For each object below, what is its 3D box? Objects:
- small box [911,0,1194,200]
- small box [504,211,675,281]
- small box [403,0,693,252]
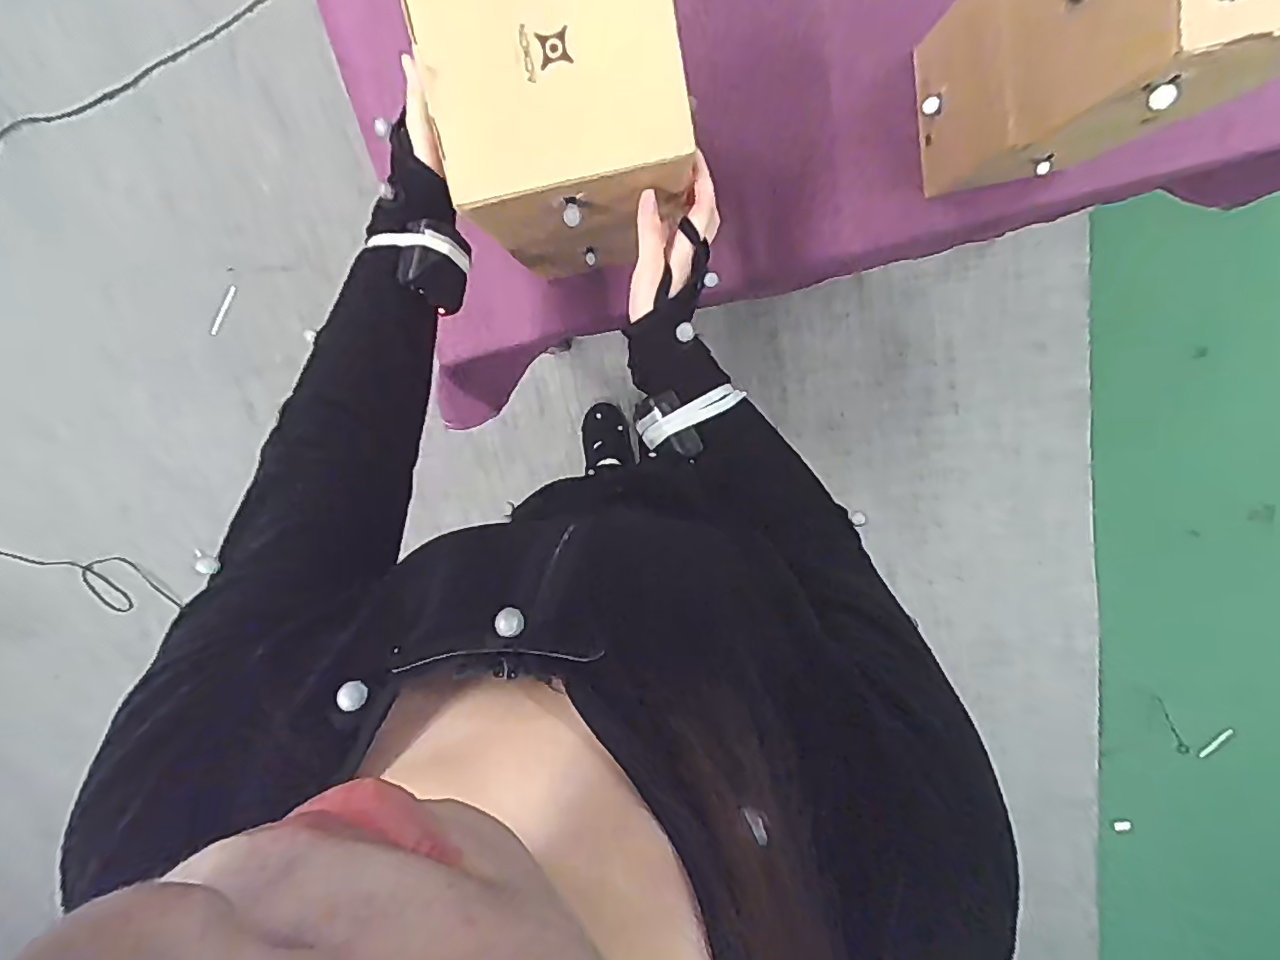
[{"bbox_3d":[0.417,-0.420,0.571,0.179,0.176,0.168,-10,101,4],"label":"small box"},{"bbox_3d":[-0.061,-0.331,0.601,0.179,0.176,0.168,-10,101,3],"label":"small box"},{"bbox_3d":[-0.060,-0.300,0.440,0.179,0.176,0.168,-10,101,5],"label":"small box"}]
